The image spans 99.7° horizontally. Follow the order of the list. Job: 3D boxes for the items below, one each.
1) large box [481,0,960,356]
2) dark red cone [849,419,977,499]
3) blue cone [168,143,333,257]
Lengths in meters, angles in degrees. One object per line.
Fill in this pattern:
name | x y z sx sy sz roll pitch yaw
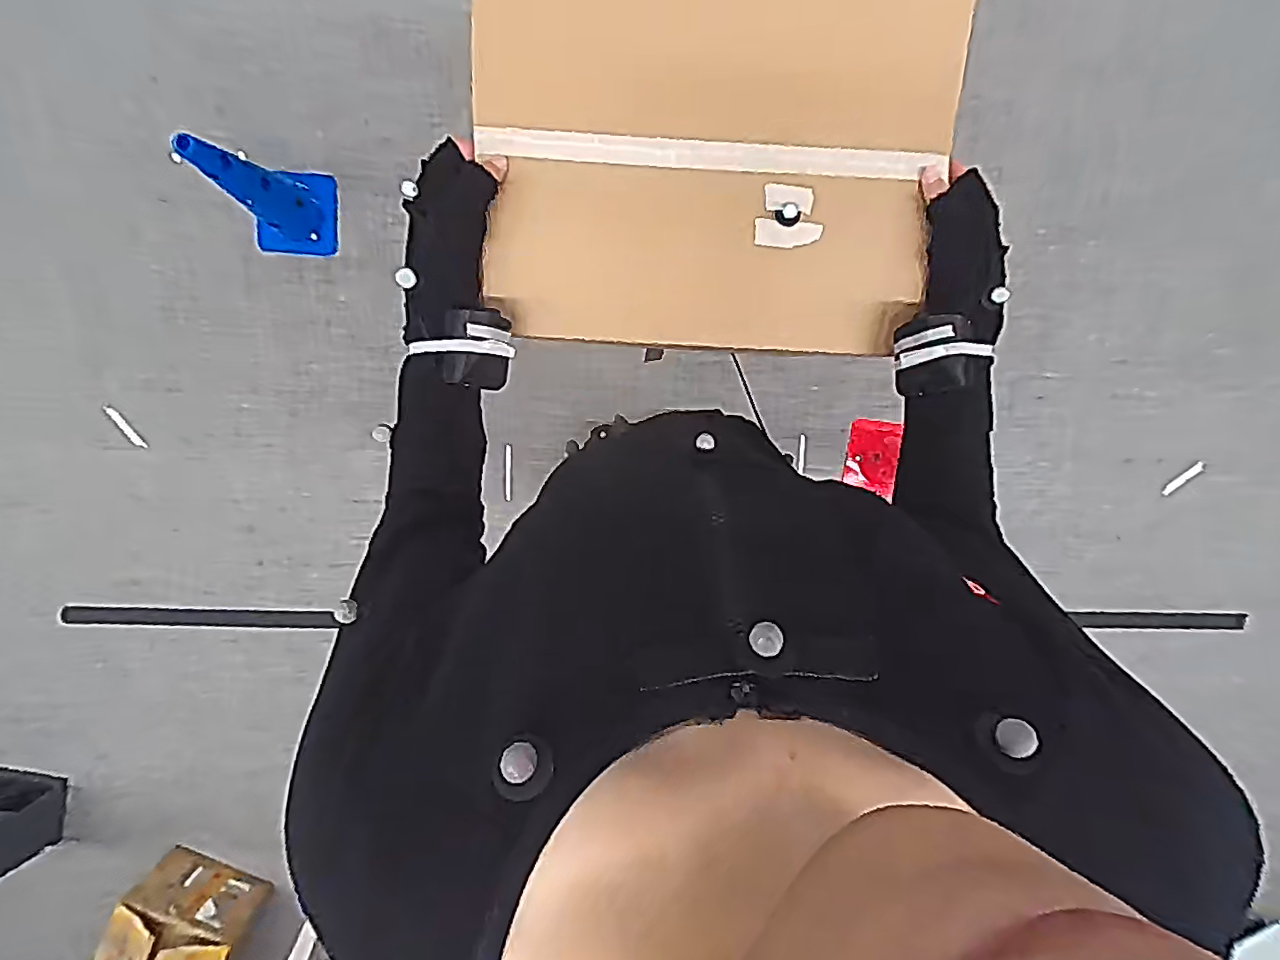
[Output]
large box | 0.057 -0.308 0.615 0.408 0.320 0.320 3 103 -3
dark red cone | 0.669 -0.035 1.291 0.201 0.394 0.202 7 96 -1
blue cone | -0.881 -0.652 1.223 0.192 0.380 0.193 5 96 -1
